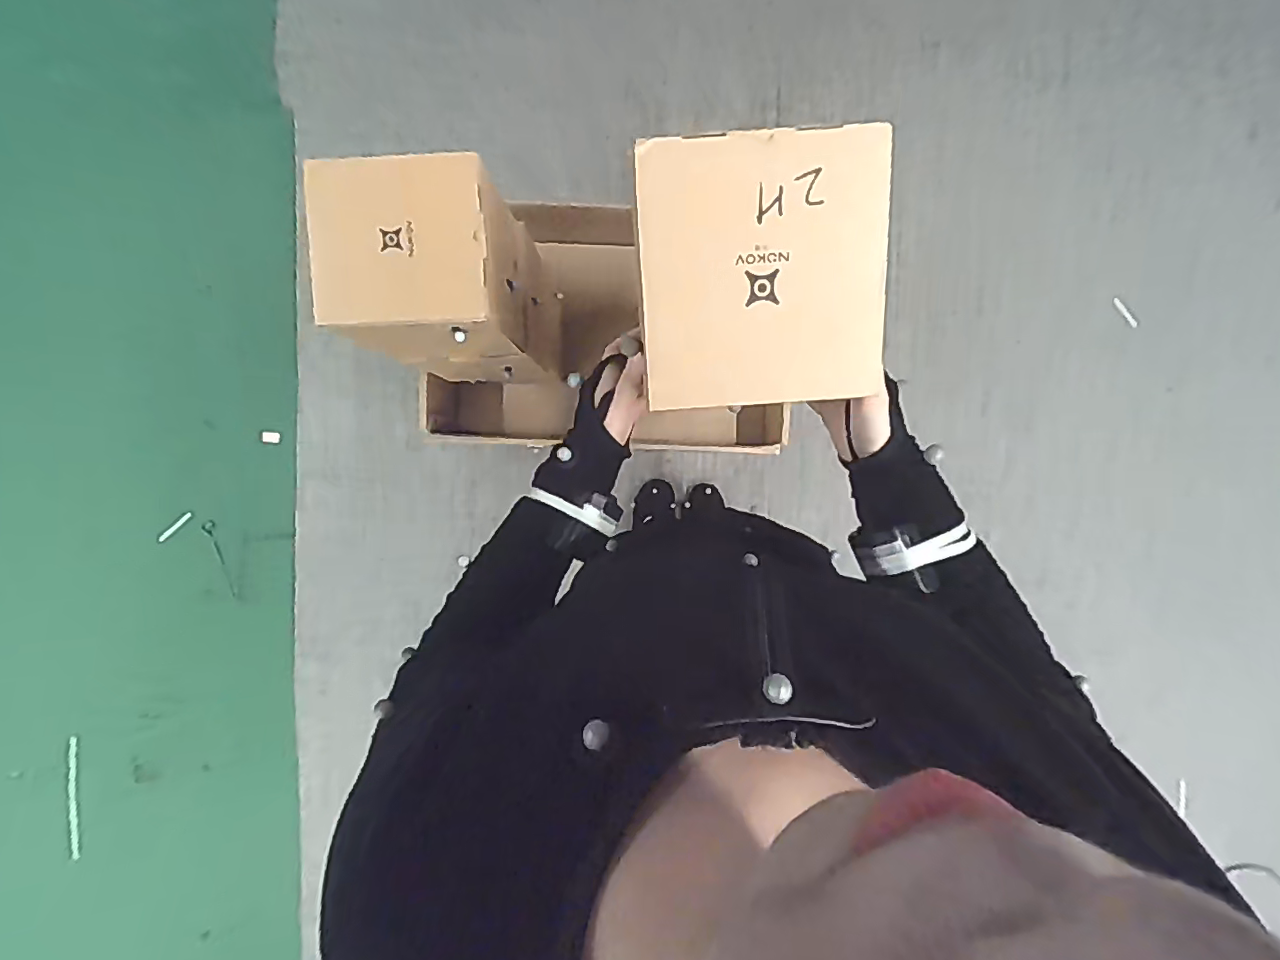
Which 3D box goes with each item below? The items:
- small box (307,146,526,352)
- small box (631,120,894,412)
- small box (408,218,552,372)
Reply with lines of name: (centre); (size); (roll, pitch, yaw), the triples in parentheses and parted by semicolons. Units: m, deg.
small box: (-0.237, -0.245, 0.613); (0.179, 0.176, 0.168); (-3, 93, 0)
small box: (0.081, -0.157, 0.436); (0.168, 0.176, 0.179); (-4, 105, 0)
small box: (-0.221, -0.252, 0.776); (0.168, 0.176, 0.179); (-1, 92, 0)
